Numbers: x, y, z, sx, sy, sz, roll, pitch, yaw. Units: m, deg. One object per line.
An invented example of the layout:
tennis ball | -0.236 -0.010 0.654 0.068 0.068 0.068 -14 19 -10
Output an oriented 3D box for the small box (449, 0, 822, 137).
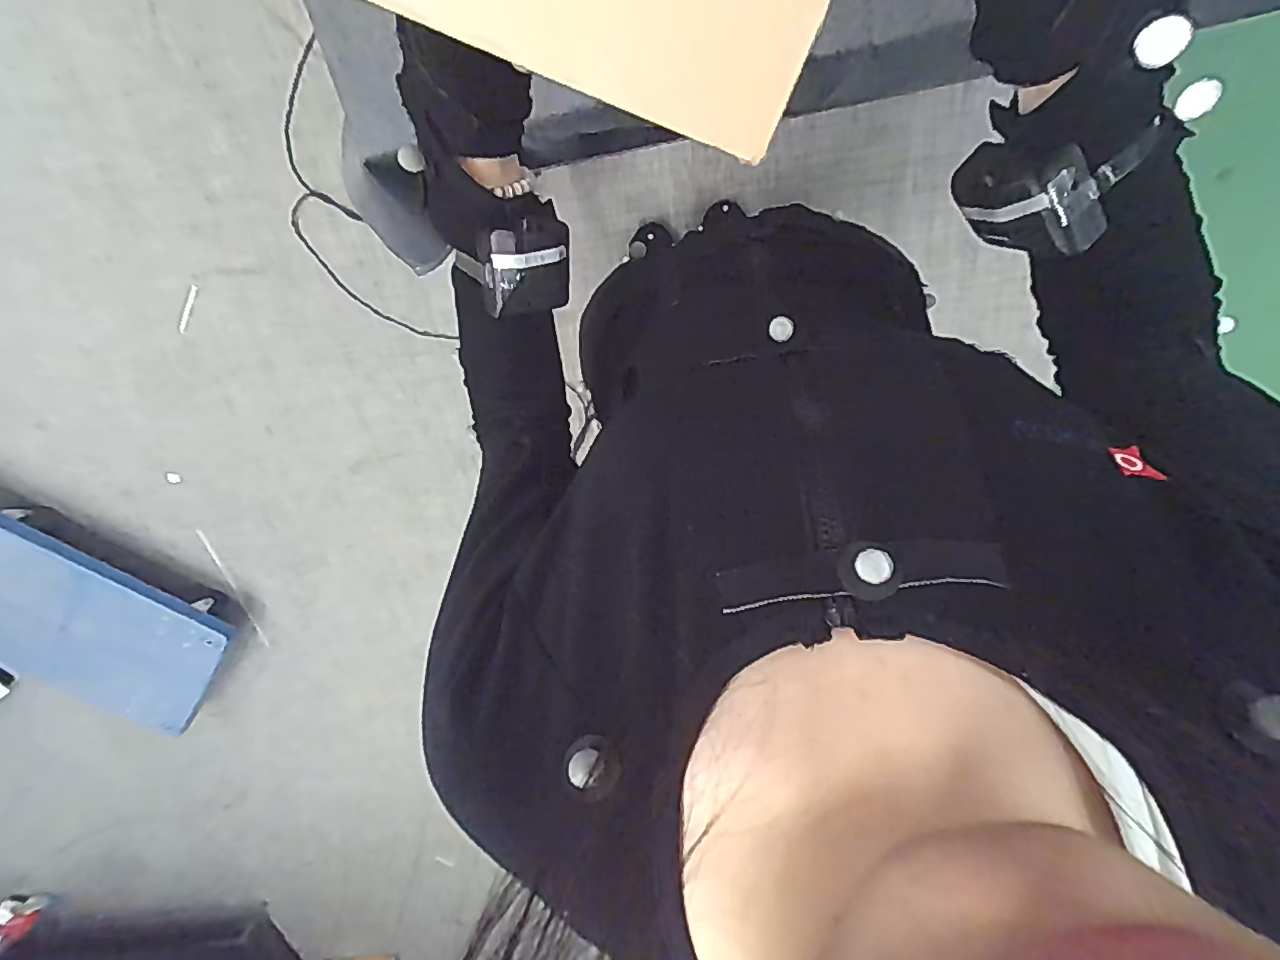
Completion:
small box | 0.001 -0.248 0.177 0.179 0.176 0.168 21 132 -5
